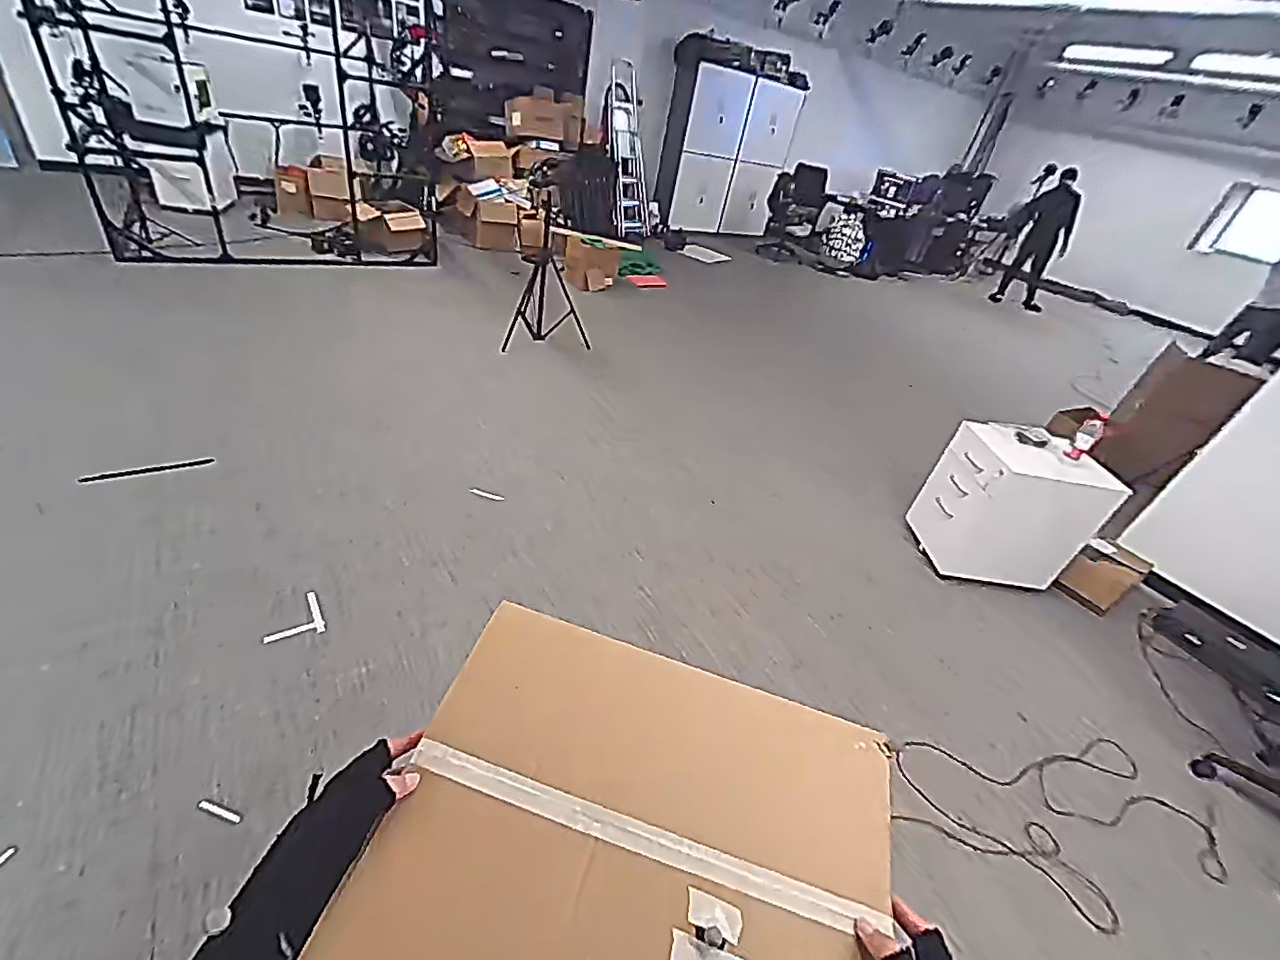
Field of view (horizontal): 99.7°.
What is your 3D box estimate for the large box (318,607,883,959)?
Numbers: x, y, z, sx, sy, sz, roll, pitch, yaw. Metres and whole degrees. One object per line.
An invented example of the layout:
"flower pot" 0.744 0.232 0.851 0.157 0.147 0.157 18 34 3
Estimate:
"large box" -0.017 0.394 0.558 0.408 0.320 0.320 18 47 6
